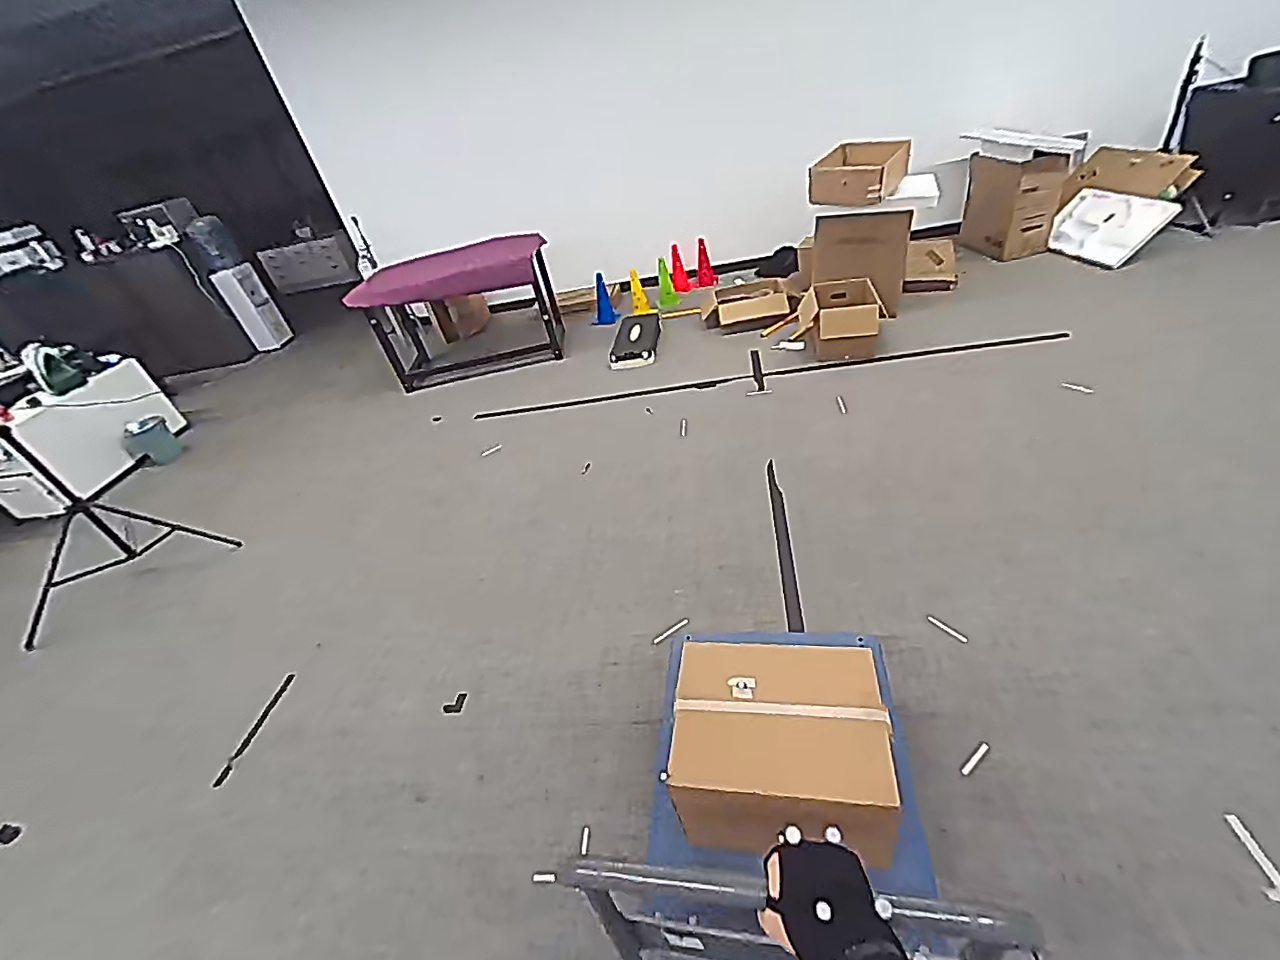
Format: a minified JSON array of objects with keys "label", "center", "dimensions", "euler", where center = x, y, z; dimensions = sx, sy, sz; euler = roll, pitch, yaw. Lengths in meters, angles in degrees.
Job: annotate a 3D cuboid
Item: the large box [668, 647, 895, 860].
[{"label":"large box","center":[0.299,0.584,1.174],"dimensions":[0.408,0.320,0.320],"euler":[-4,37,15]}]
